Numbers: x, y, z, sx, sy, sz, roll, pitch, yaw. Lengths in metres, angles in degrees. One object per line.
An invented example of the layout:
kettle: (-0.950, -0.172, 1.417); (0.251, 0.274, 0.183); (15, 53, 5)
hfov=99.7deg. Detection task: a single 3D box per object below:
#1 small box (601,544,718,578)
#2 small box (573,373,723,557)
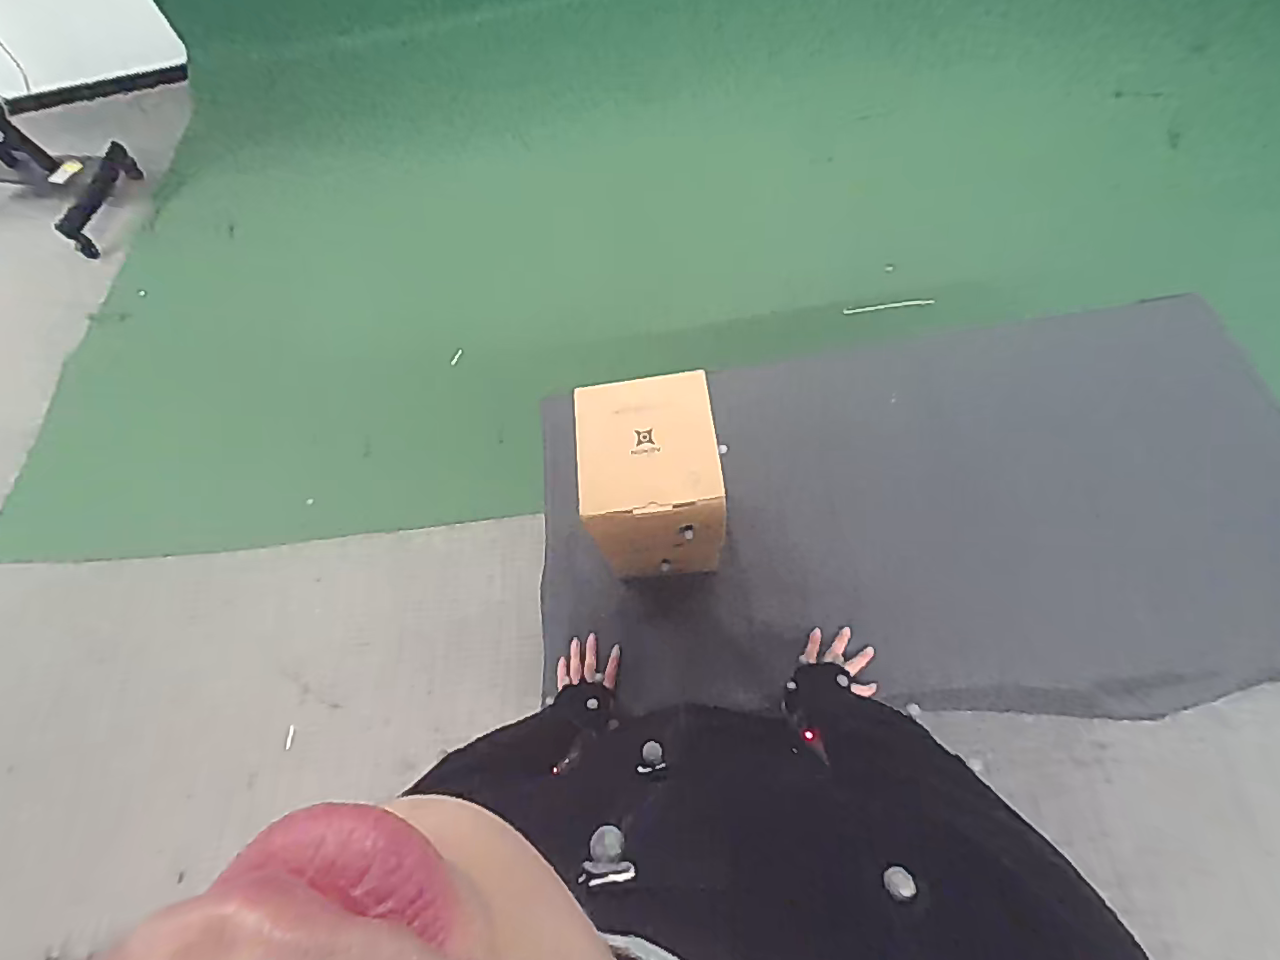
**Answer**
small box: (0.033, 0.050, 0.847); (0.168, 0.176, 0.179); (-6, 64, 5)
small box: (0.014, -0.009, 0.696); (0.168, 0.176, 0.179); (-8, 63, 3)
